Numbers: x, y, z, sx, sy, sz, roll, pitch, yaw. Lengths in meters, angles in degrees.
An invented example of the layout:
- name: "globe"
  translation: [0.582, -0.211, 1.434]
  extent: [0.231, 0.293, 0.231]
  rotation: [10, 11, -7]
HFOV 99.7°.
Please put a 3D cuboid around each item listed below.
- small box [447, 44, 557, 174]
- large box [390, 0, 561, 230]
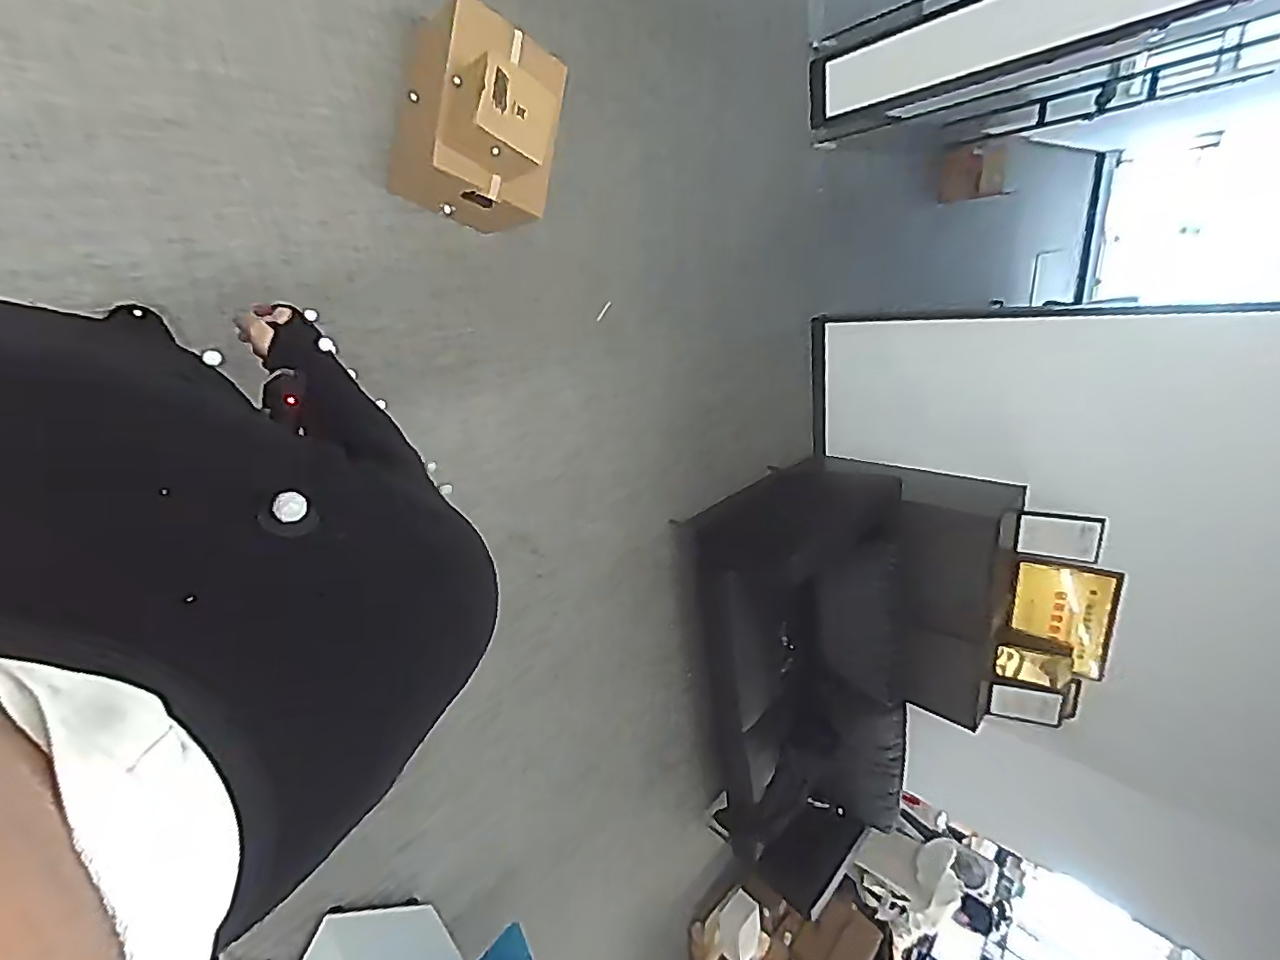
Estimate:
- name: "small box"
  translation: [-0.325, -0.843, 1.256]
  extent: [0.179, 0.176, 0.168]
  rotation: [11, 93, -44]
- name: "large box"
  translation: [-0.449, -0.950, 1.457]
  extent: [0.320, 0.320, 0.408]
  rotation: [5, 96, -45]
